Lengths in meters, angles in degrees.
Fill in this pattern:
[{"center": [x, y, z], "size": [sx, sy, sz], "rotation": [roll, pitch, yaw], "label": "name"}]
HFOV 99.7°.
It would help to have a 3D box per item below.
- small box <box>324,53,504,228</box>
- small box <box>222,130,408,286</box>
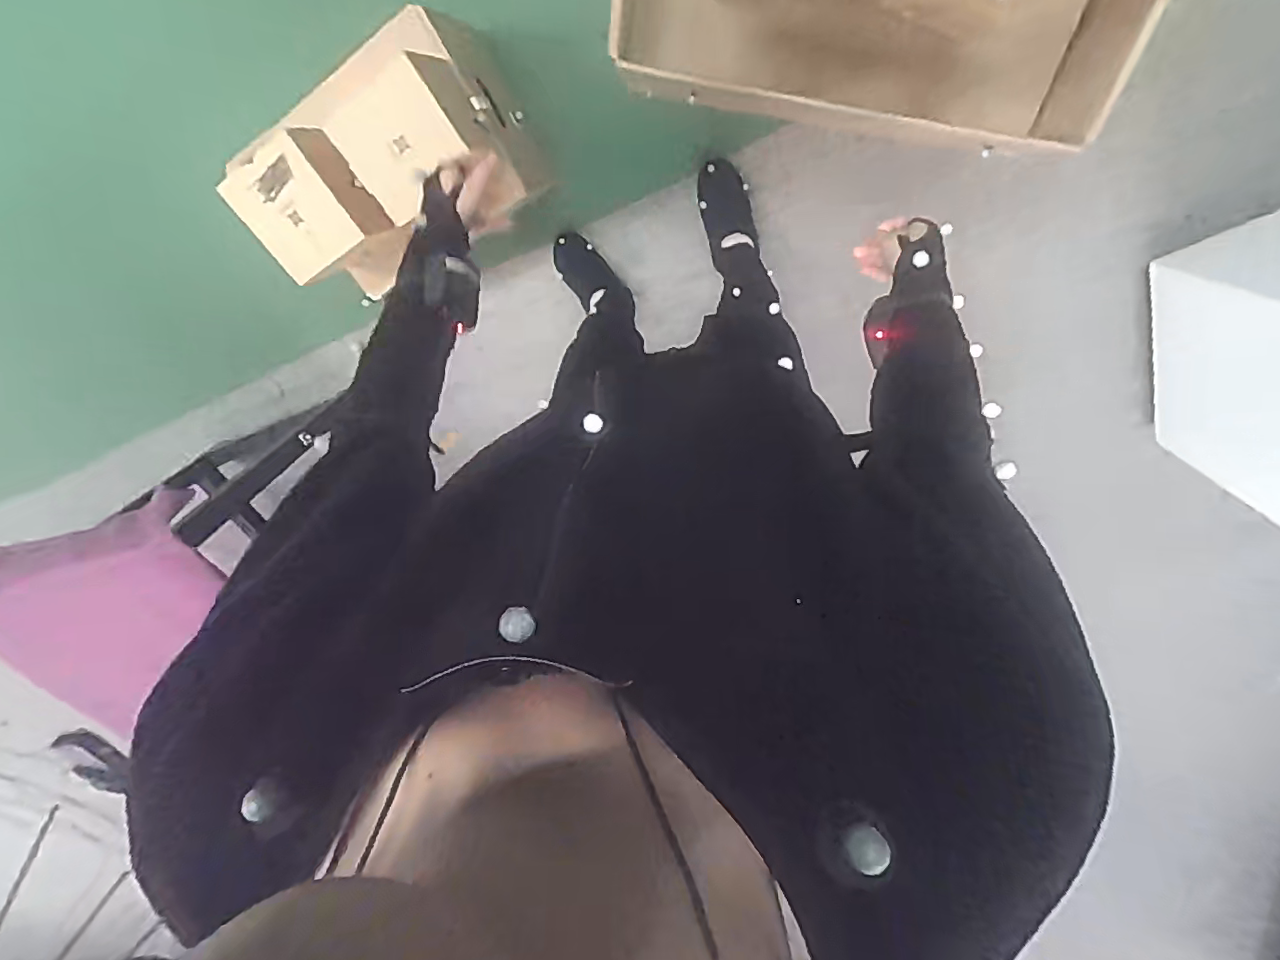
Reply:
[{"center": [-0.349, -0.539, 0.872], "size": [0.179, 0.176, 0.168], "rotation": [-25, 118, 19], "label": "small box"}, {"center": [-0.547, -0.469, 0.935], "size": [0.168, 0.176, 0.179], "rotation": [-23, 118, 19], "label": "small box"}]
